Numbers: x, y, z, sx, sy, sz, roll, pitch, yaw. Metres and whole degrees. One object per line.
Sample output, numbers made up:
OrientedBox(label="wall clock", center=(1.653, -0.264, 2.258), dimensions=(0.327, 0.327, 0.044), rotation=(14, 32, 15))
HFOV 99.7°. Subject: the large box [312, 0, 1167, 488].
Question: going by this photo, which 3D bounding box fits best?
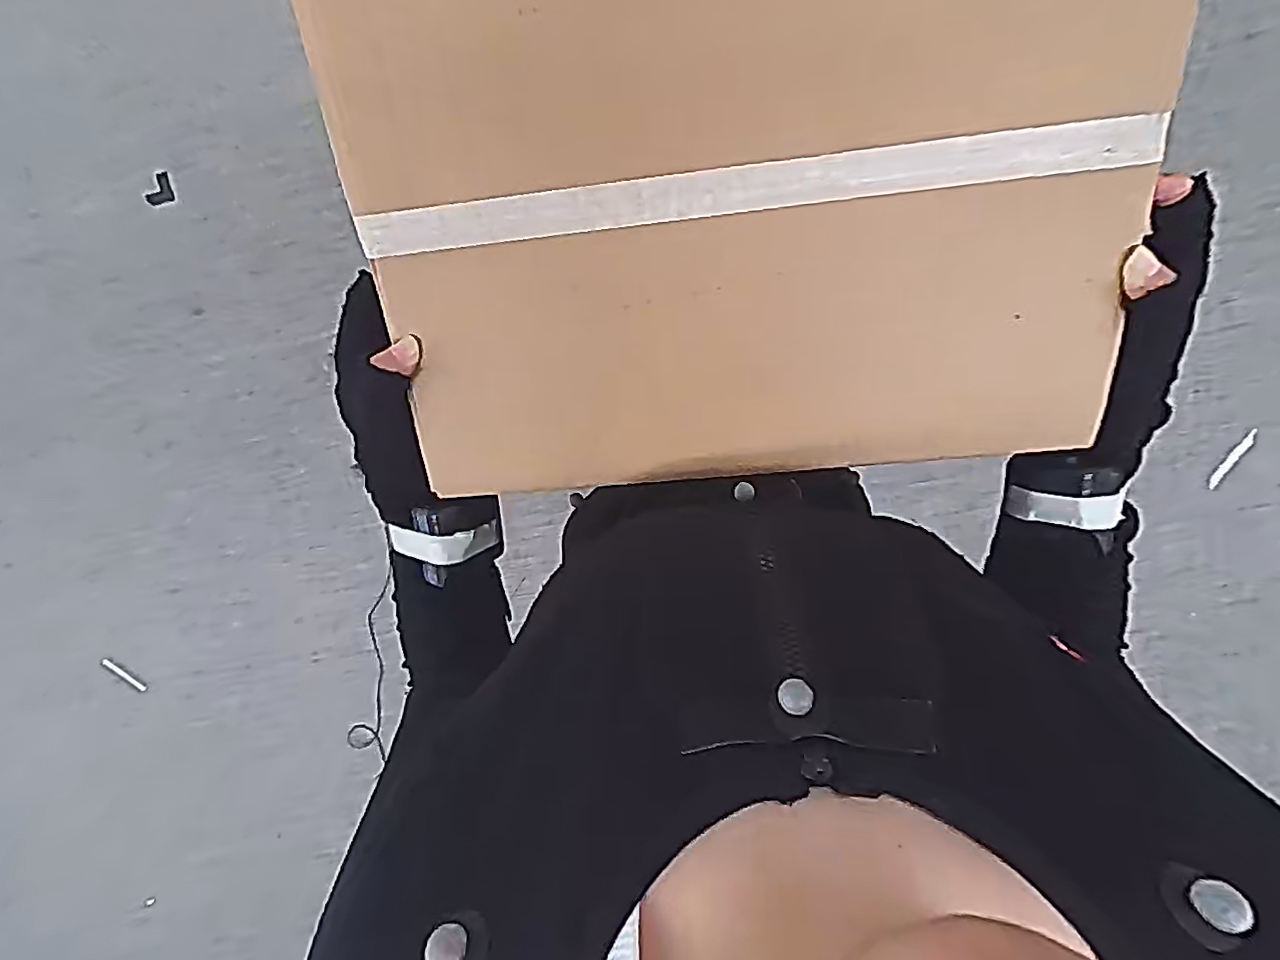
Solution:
OrientedBox(label="large box", center=(0.053, -0.209, 0.424), dimensions=(0.408, 0.320, 0.320), rotation=(-5, 114, 4))
